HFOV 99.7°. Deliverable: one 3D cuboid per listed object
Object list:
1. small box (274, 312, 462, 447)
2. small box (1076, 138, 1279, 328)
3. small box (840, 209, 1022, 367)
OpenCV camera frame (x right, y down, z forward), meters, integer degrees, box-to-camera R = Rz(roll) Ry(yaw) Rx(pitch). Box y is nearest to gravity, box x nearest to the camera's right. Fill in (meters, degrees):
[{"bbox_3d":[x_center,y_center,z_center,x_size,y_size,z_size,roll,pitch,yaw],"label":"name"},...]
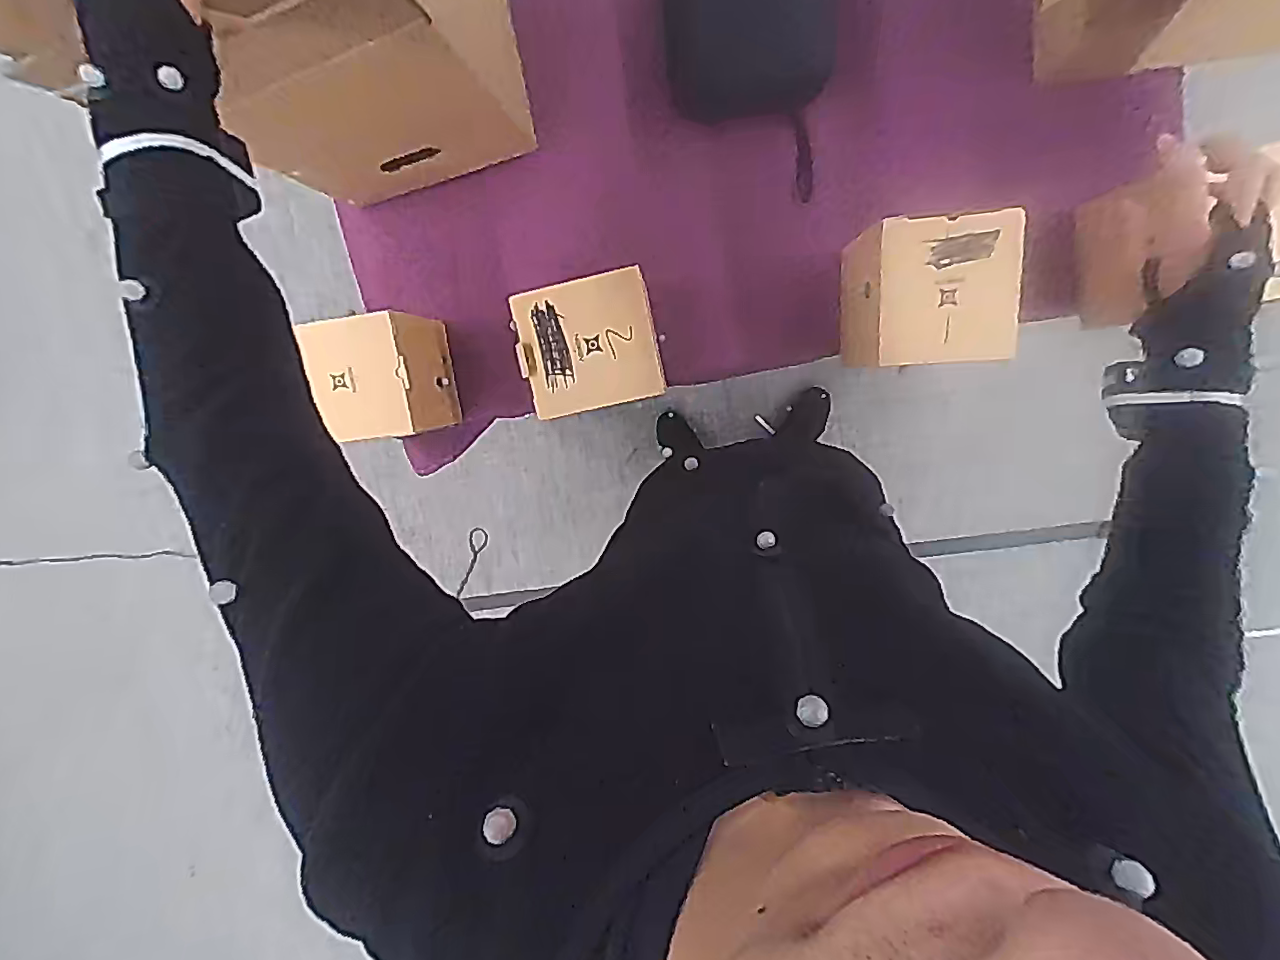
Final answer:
[{"bbox_3d":[-0.395,-0.146,0.814,0.179,0.176,0.168,-8,100,4],"label":"small box"},{"bbox_3d":[0.705,-0.306,0.697,0.168,0.176,0.179,-9,100,7],"label":"small box"},{"bbox_3d":[0.379,-0.247,0.735,0.168,0.176,0.179,-3,102,5],"label":"small box"}]
